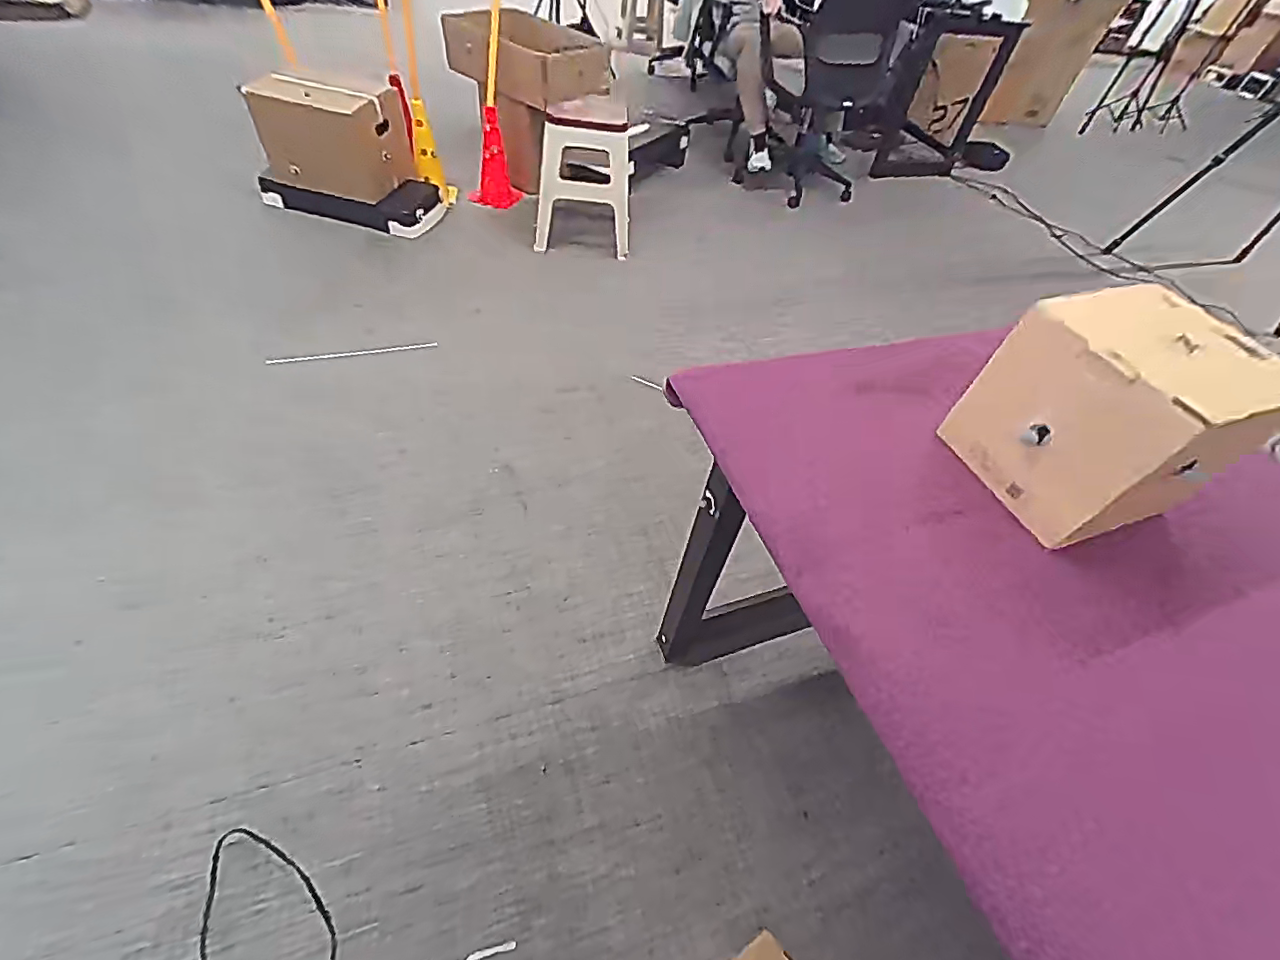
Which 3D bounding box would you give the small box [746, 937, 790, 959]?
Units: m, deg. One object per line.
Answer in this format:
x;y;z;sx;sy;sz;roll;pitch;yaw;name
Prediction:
0.155;0.759;0.691;0.168;0.176;0.179;37;33;27;small box

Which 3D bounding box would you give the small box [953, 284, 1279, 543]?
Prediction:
0.442;-0.061;0.518;0.179;0.176;0.168;-13;54;-18;small box
